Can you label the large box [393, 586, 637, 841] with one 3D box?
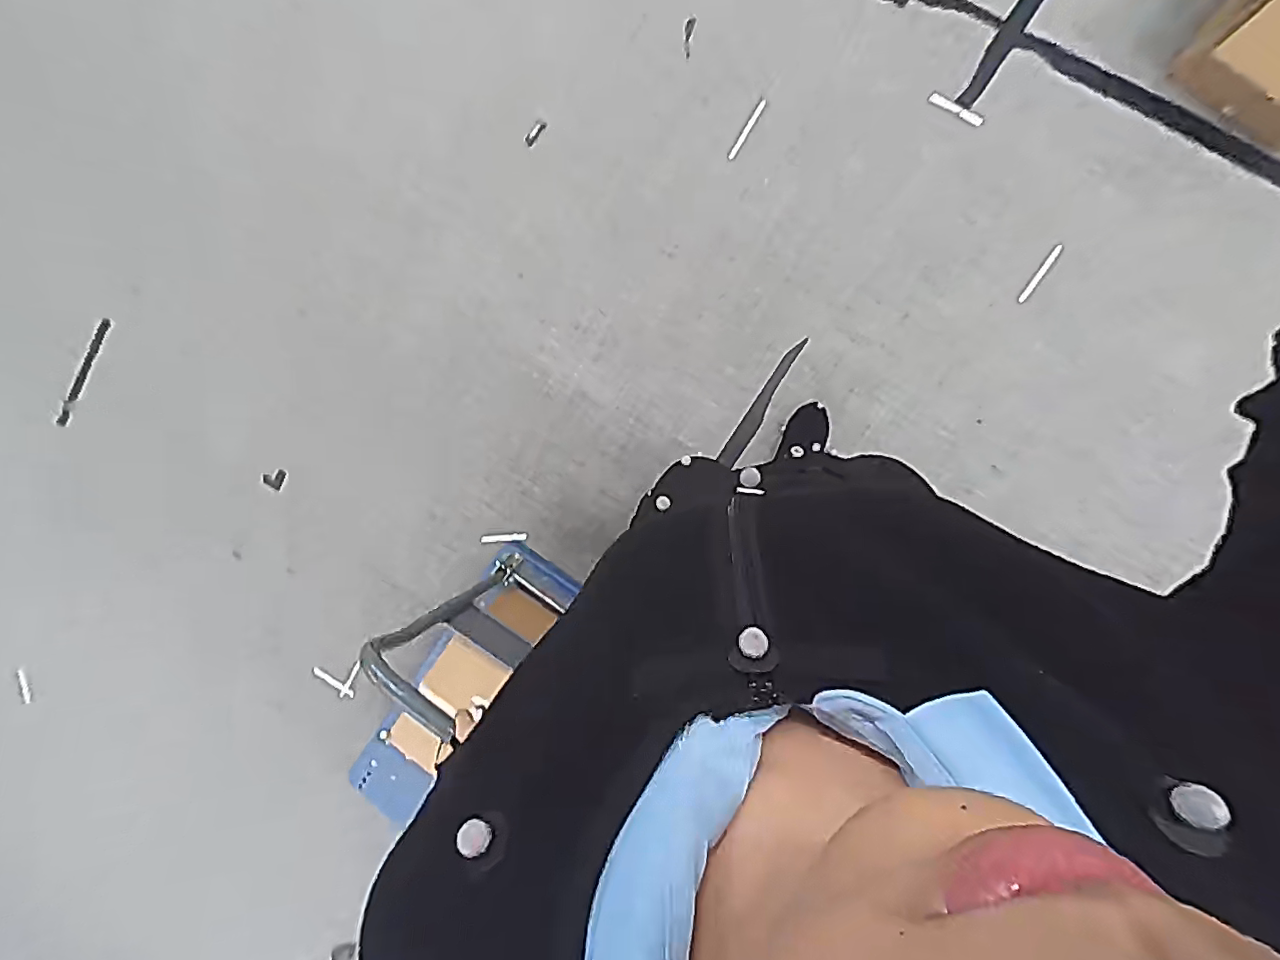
[{"bbox_3d":[-0.269,0.522,1.280,0.408,0.320,0.320,36,99,4],"label":"large box"}]
